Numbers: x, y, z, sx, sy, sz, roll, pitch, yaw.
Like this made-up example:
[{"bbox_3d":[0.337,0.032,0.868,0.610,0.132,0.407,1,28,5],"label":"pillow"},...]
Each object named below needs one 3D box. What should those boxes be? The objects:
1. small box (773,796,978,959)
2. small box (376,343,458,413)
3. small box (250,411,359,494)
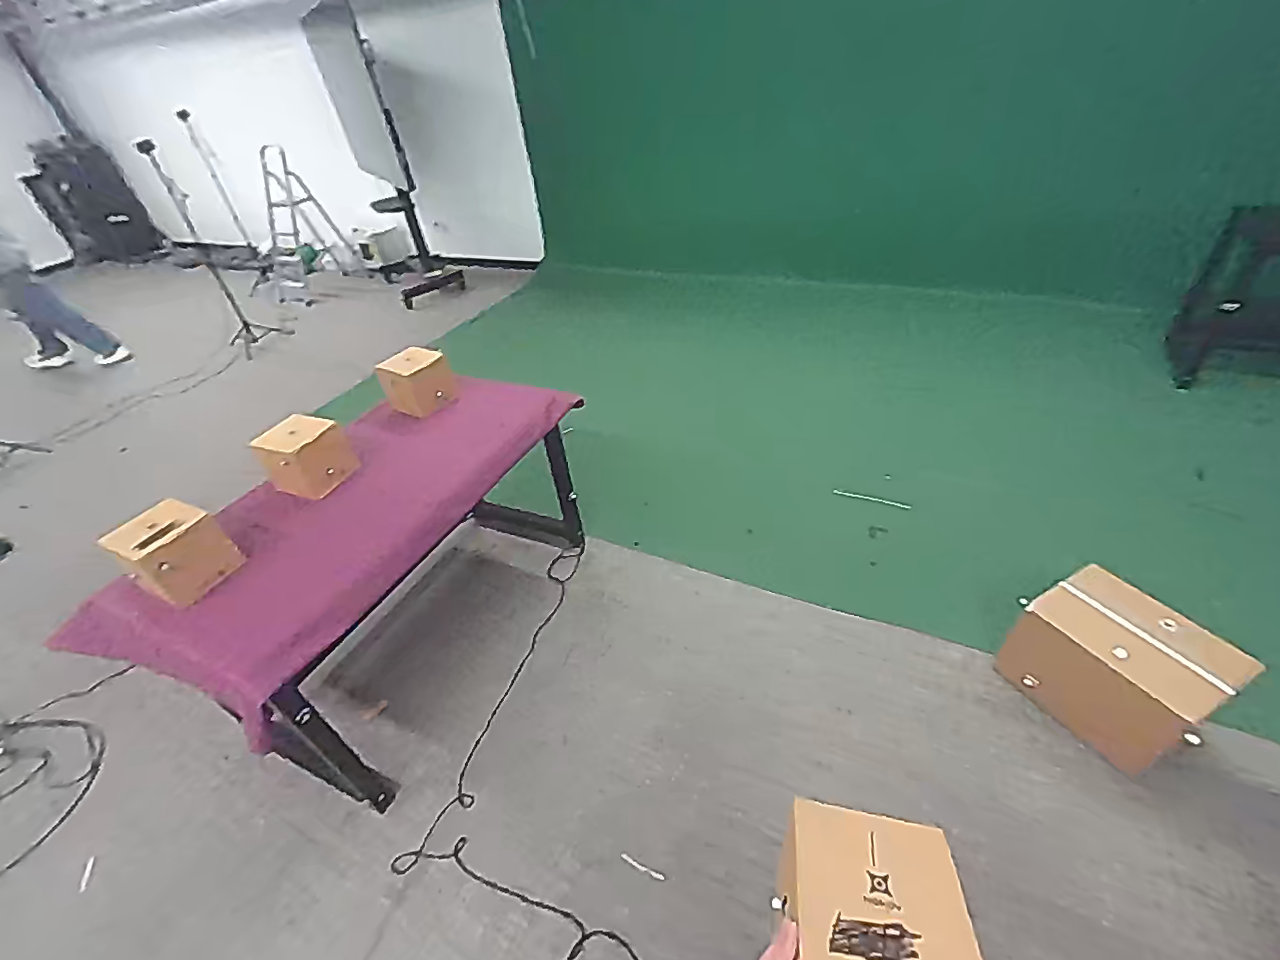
[{"bbox_3d":[0.237,0.488,0.577,0.168,0.176,0.179,6,24,10],"label":"small box"},{"bbox_3d":[-0.766,-0.351,1.872,0.179,0.176,0.168,18,46,27],"label":"small box"},{"bbox_3d":[-0.966,-0.079,1.572,0.179,0.176,0.168,11,42,19],"label":"small box"}]
